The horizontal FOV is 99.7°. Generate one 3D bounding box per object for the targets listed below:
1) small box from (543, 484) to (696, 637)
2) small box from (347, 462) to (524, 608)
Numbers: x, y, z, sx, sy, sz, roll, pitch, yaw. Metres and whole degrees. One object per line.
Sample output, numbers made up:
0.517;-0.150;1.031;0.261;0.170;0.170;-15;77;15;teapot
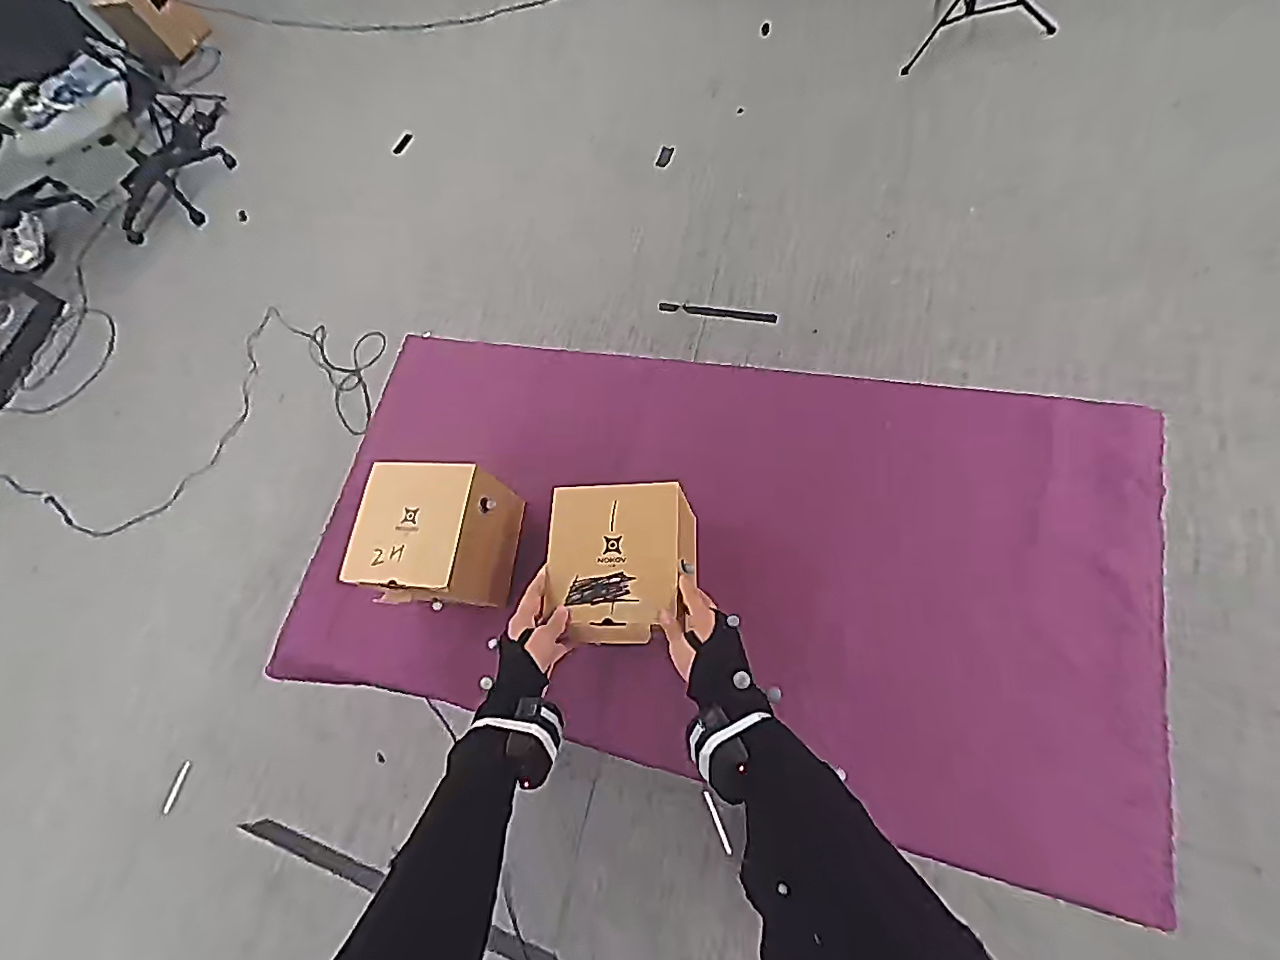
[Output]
-0.016;0.116;0.732;0.168;0.176;0.179;-2;68;13;small box
-0.290;0.086;0.809;0.168;0.176;0.179;2;70;14;small box
